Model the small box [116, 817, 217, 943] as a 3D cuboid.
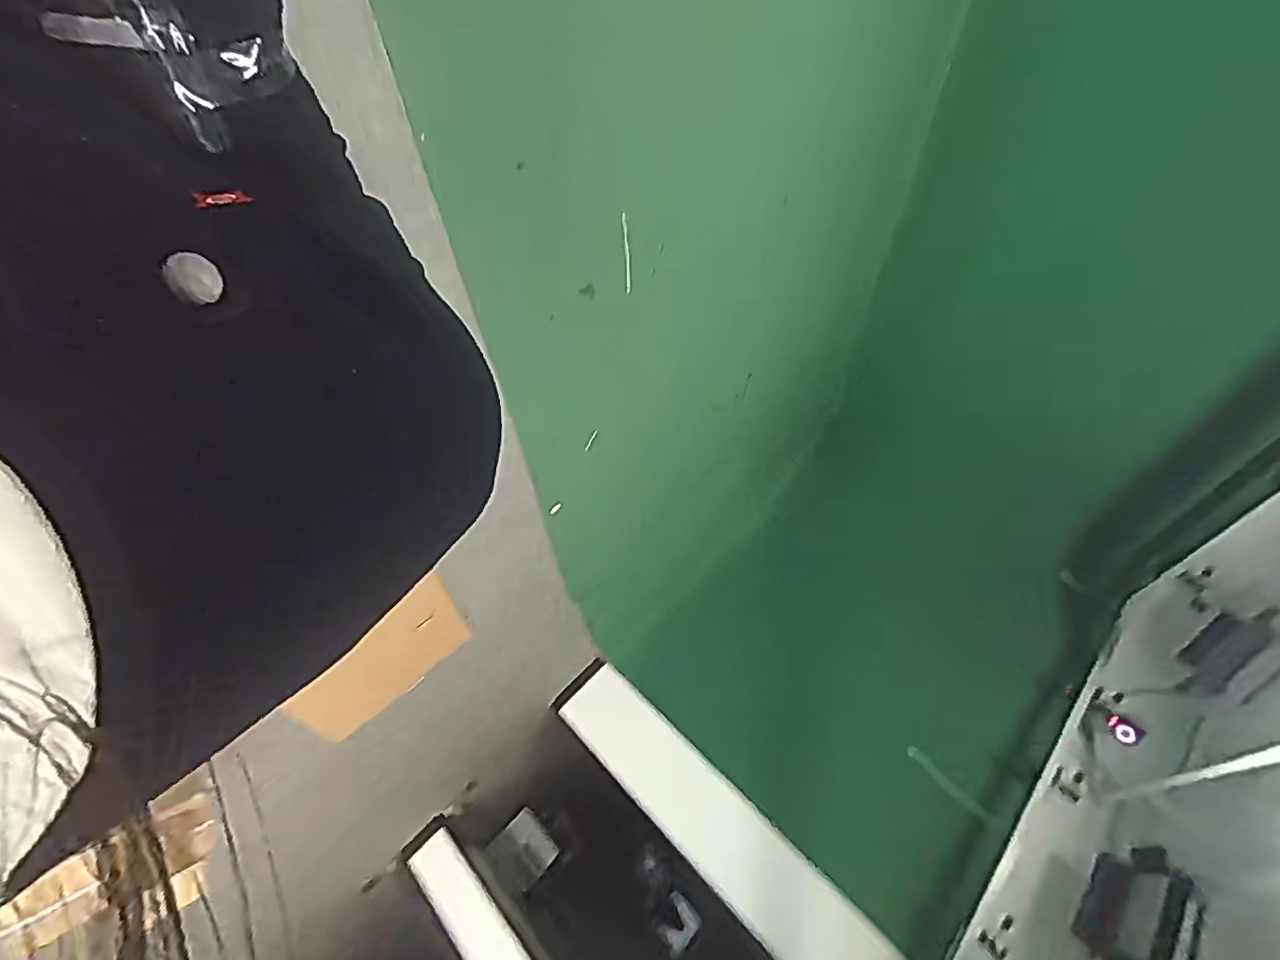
[{"bbox_3d":[-1.249,1.047,1.430,0.168,0.176,0.179,-16,131,-50],"label":"small box"}]
